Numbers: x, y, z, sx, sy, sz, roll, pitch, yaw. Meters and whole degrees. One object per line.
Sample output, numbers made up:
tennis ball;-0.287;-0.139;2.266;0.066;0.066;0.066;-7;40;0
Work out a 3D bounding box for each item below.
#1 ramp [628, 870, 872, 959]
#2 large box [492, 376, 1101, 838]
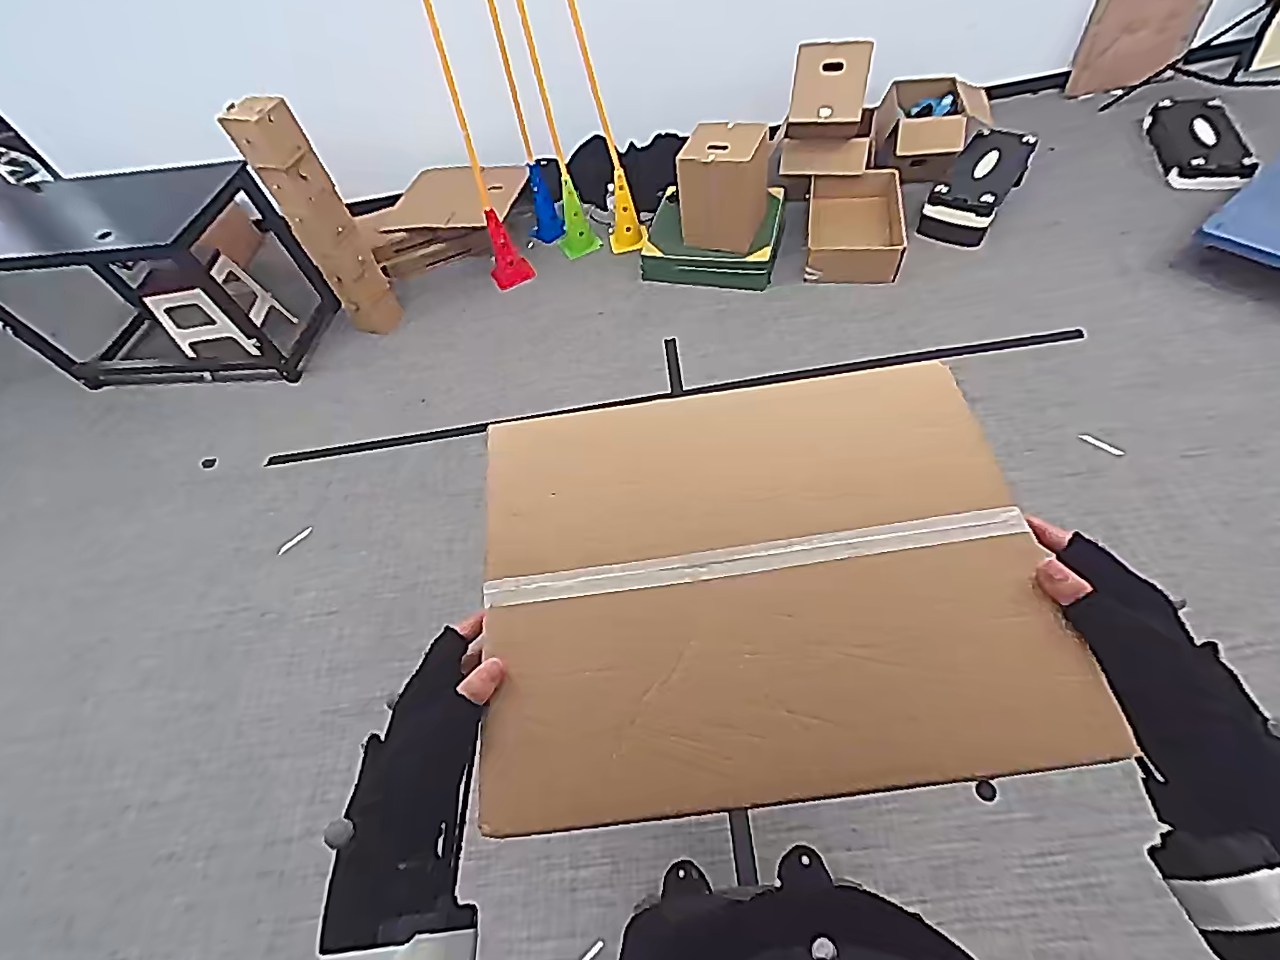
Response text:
ramp;0.264;1.319;0.965;0.509;0.206;0.991;-8;56;1
large box;0.096;0.136;0.546;0.408;0.320;0.320;-8;61;1
